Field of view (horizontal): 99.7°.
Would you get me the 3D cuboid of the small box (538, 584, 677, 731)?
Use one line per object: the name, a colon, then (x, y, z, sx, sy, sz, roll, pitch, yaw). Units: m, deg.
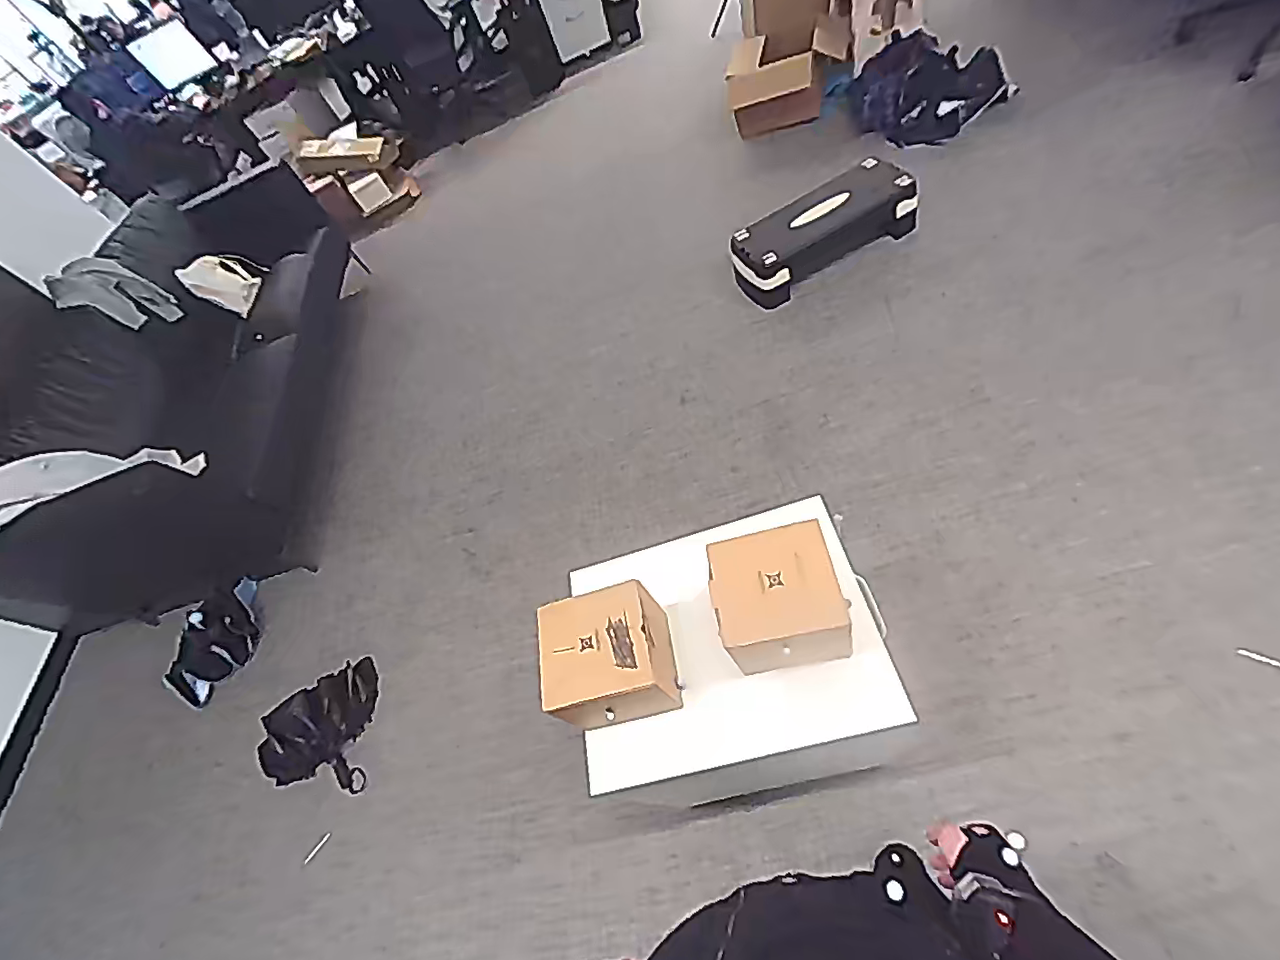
small box: (-0.047, 0.292, 0.875, 0.179, 0.176, 0.168, -18, 53, 10)

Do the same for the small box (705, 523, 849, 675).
small box: (0.214, 0.192, 0.840, 0.179, 0.176, 0.168, -15, 56, 12)
